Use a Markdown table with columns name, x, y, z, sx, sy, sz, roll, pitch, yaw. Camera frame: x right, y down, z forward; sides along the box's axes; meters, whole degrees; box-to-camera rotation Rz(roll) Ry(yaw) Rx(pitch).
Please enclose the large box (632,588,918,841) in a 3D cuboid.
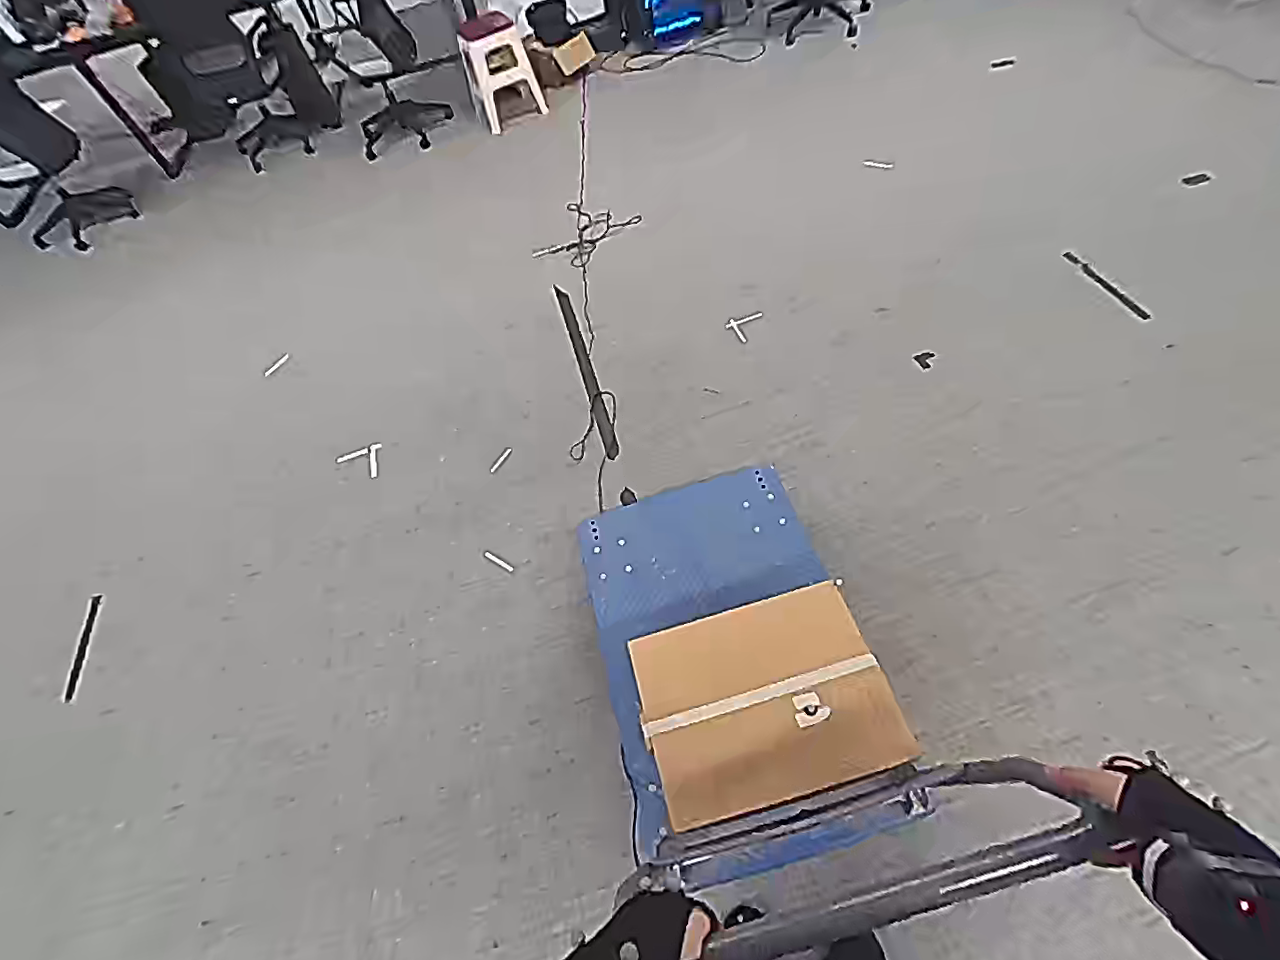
| name | x | y | z | sx | sy | sz | roll | pitch | yaw |
| --- | --- | --- | --- | --- | --- | --- | --- | --- | --- |
| large box | 0.230 | 0.461 | 1.042 | 0.408 | 0.320 | 0.320 | -16 | 56 | -1 |
